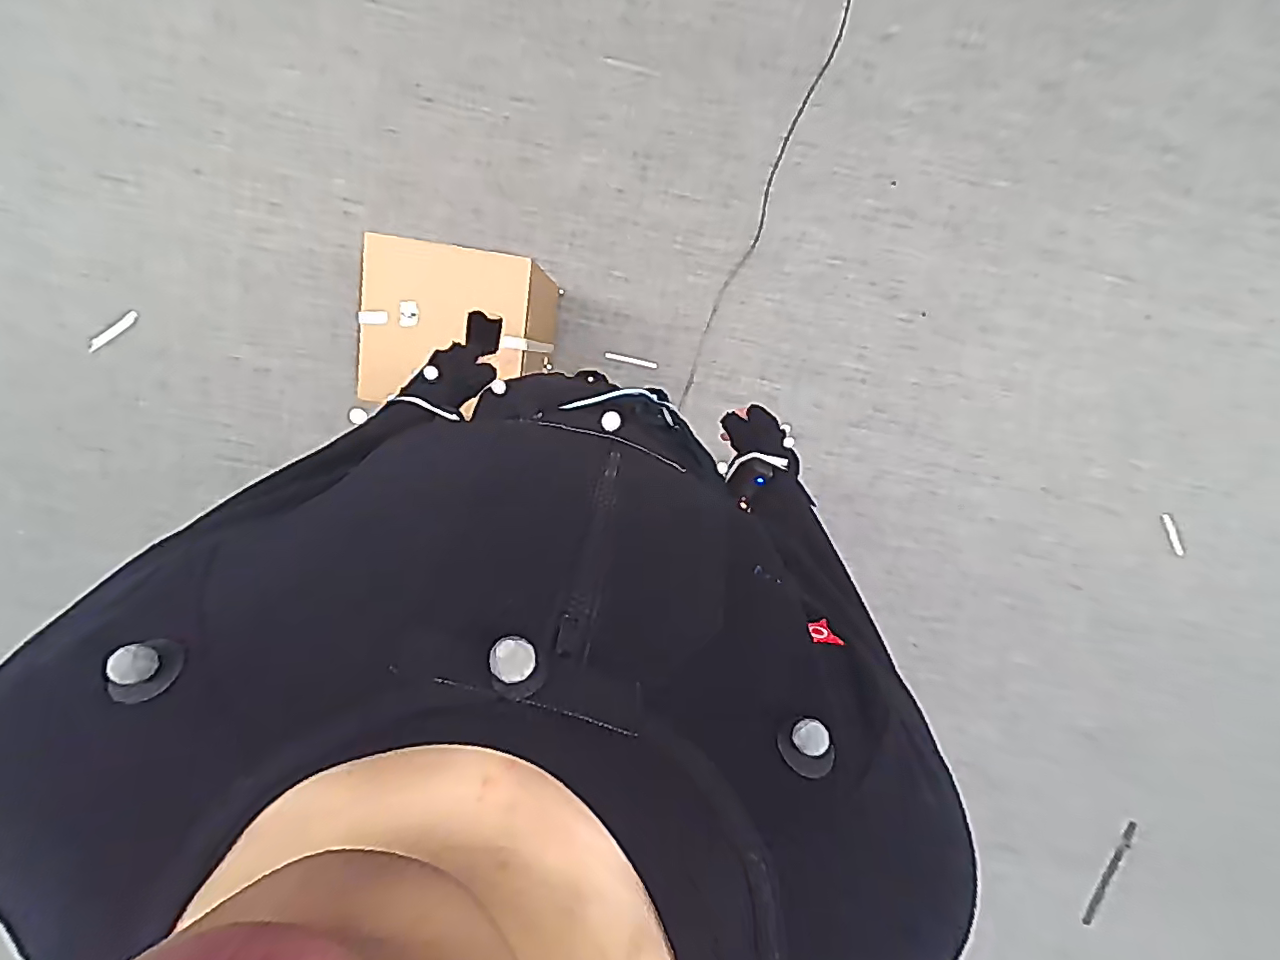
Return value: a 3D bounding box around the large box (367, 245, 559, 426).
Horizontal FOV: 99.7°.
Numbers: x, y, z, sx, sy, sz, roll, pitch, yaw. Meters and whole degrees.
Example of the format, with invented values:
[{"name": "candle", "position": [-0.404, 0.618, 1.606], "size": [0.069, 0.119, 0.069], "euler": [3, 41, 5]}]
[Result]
[{"name": "large box", "position": [-0.375, -0.320, 1.227], "size": [0.320, 0.408, 0.320], "euler": [9, 103, -4]}]
